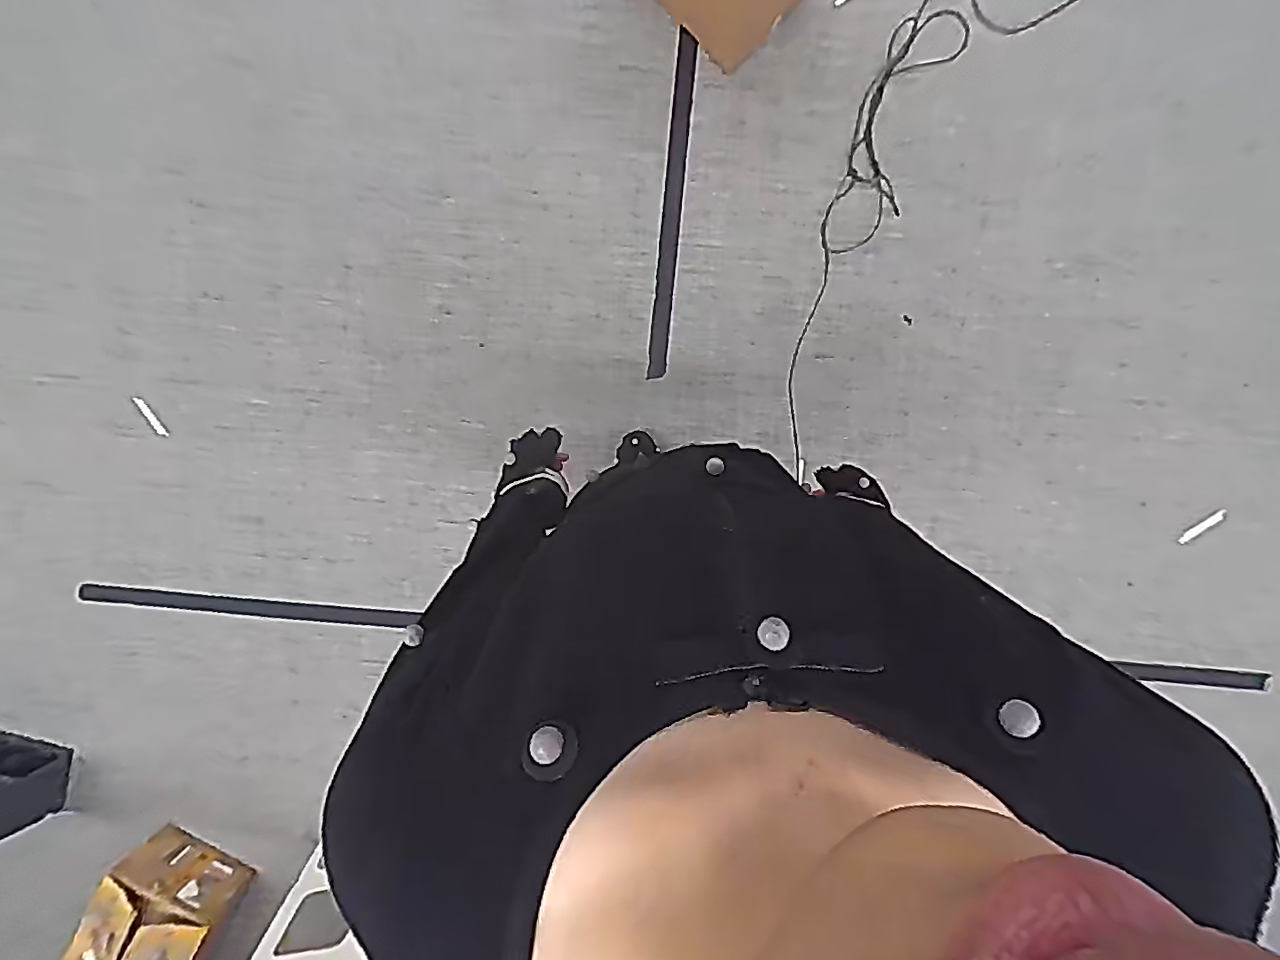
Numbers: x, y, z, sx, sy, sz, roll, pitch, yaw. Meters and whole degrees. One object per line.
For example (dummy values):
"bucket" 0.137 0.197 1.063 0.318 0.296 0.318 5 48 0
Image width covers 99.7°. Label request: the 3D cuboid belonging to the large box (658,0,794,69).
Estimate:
"large box" 0.188 -1.282 1.225 0.408 0.320 0.320 44 95 -3
